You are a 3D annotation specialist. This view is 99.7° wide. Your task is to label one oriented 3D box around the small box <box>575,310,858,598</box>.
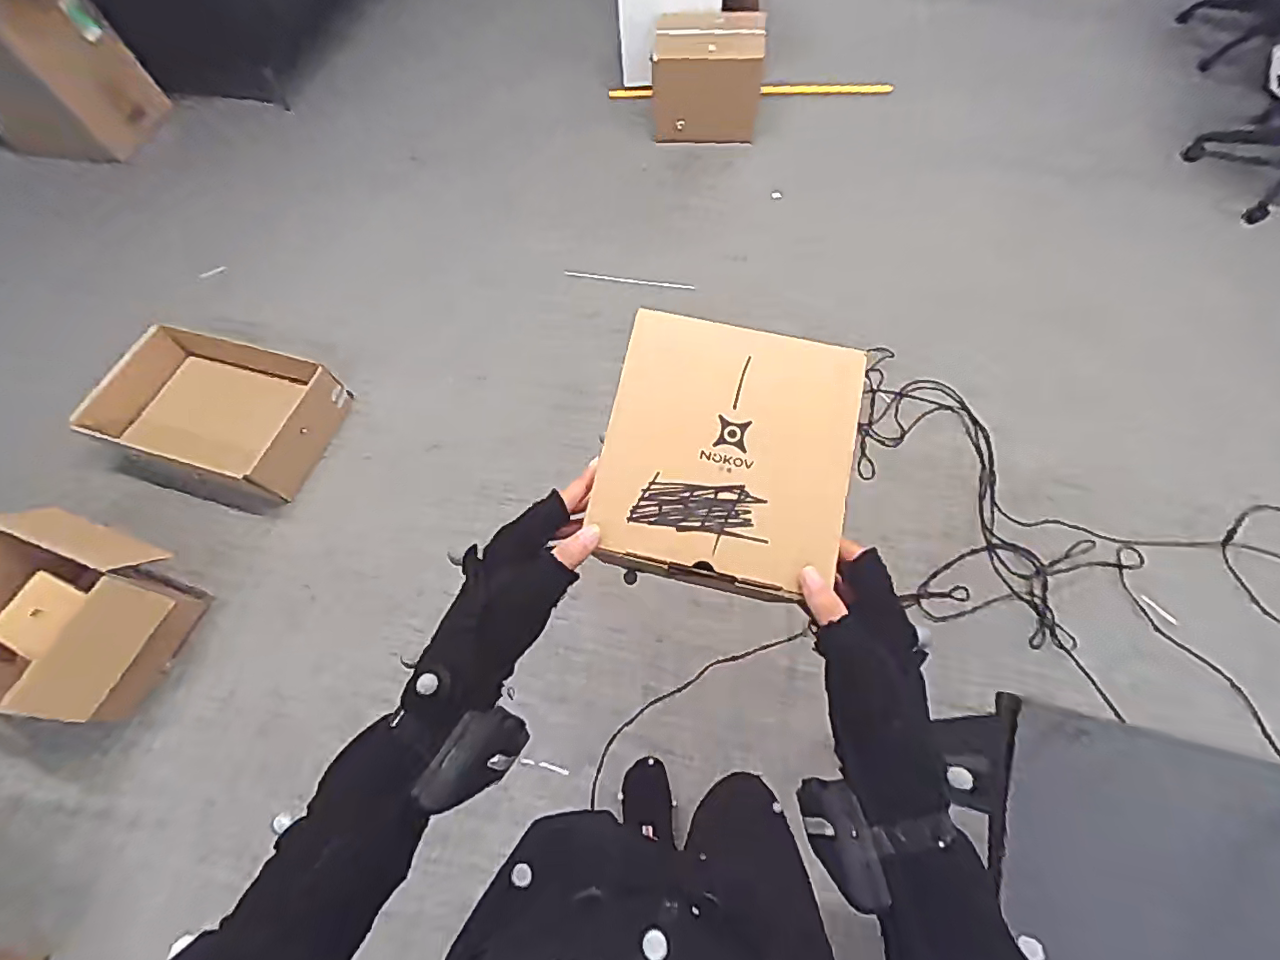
[{"bbox_3d":[0.057,-0.005,0.445,0.168,0.176,0.179,13,76,4],"label":"small box"}]
